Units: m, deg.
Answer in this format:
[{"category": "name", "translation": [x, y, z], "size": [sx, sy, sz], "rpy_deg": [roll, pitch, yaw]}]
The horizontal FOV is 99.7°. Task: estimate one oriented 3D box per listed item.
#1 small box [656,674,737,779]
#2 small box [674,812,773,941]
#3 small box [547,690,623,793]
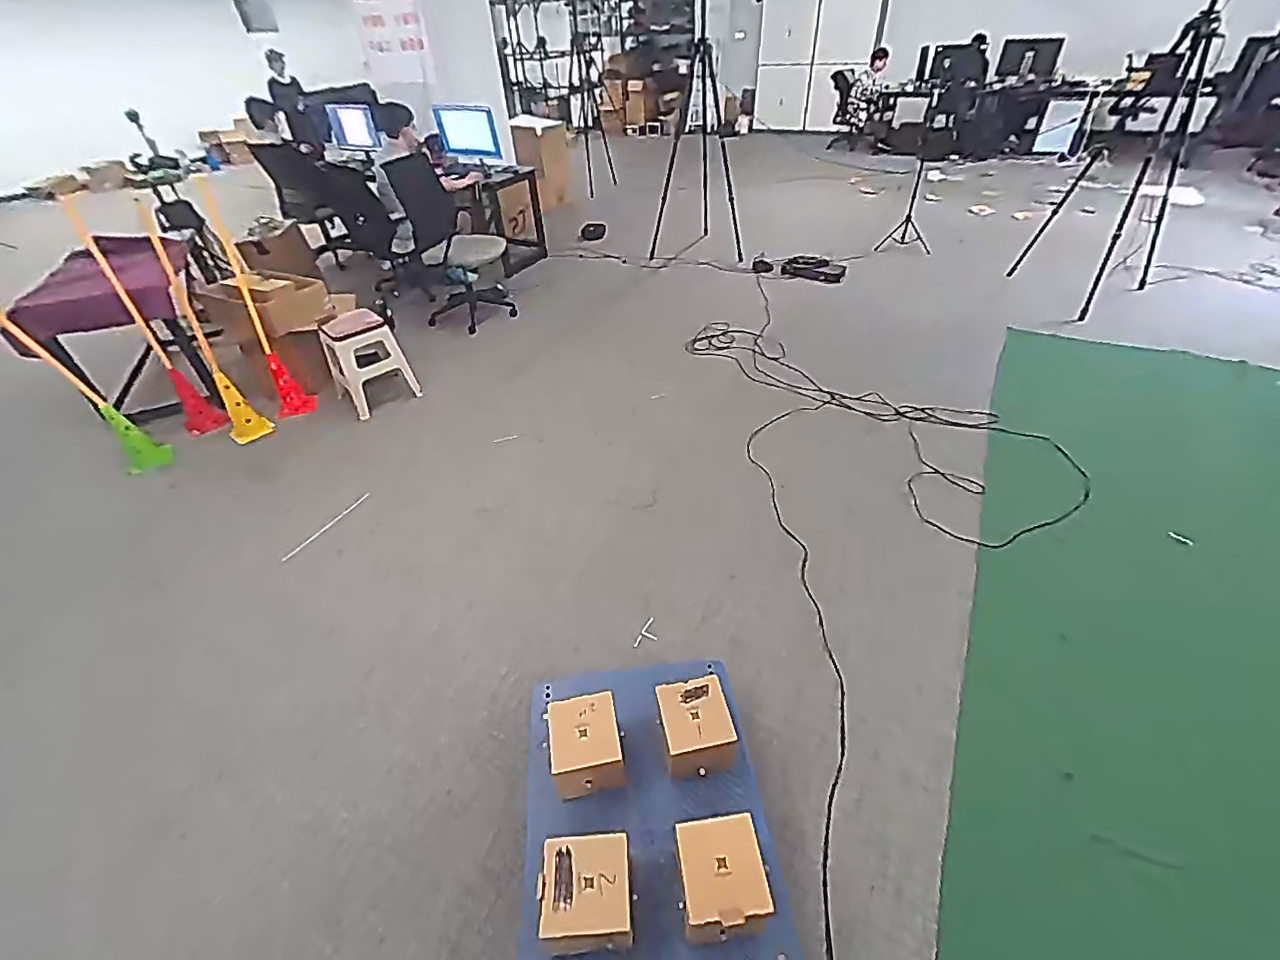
[{"category": "small box", "translation": [0.136, 0.628, 1.380], "size": [0.168, 0.176, 0.179], "rpy_deg": [-9, 42, -6]}, {"category": "small box", "translation": [0.166, 0.836, 1.142], "size": [0.168, 0.176, 0.179], "rpy_deg": [-6, 42, -4]}, {"category": "small box", "translation": [-0.137, 0.660, 1.356], "size": [0.168, 0.176, 0.179], "rpy_deg": [-8, 41, -7]}]
